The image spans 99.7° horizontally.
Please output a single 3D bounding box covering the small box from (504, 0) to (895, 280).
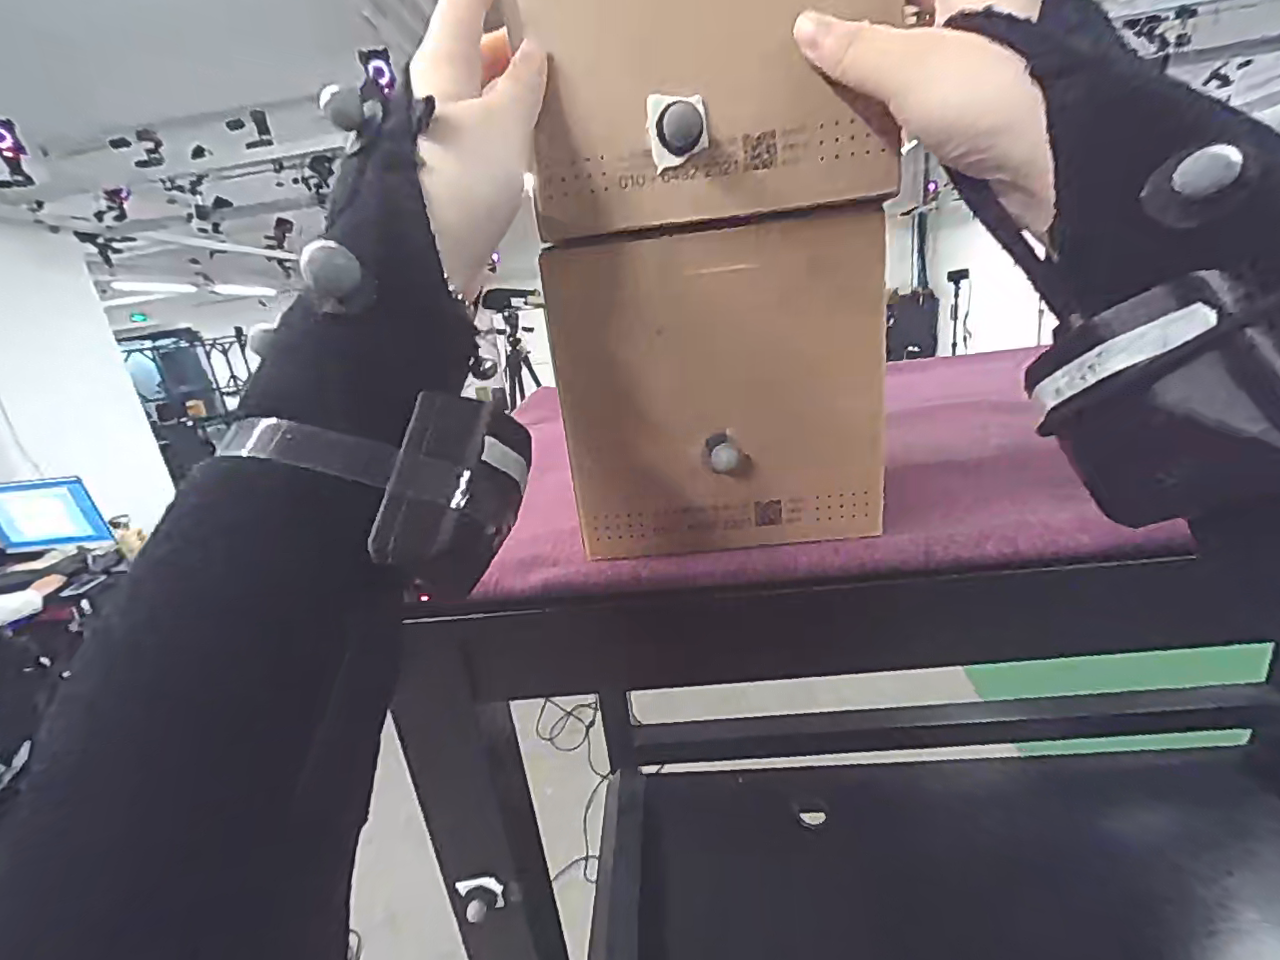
[{"bbox_3d":[0.029,-0.203,0.306,0.168,0.176,0.179,-6,18,6],"label":"small box"}]

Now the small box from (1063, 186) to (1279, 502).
[{"bbox_3d":[0.415,-0.093,0.345,0.168,0.176,0.179,-6,19,6],"label":"small box"}]

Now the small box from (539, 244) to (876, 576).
[{"bbox_3d":[0.044,-0.051,0.362,0.168,0.176,0.179,-6,17,5],"label":"small box"}]
